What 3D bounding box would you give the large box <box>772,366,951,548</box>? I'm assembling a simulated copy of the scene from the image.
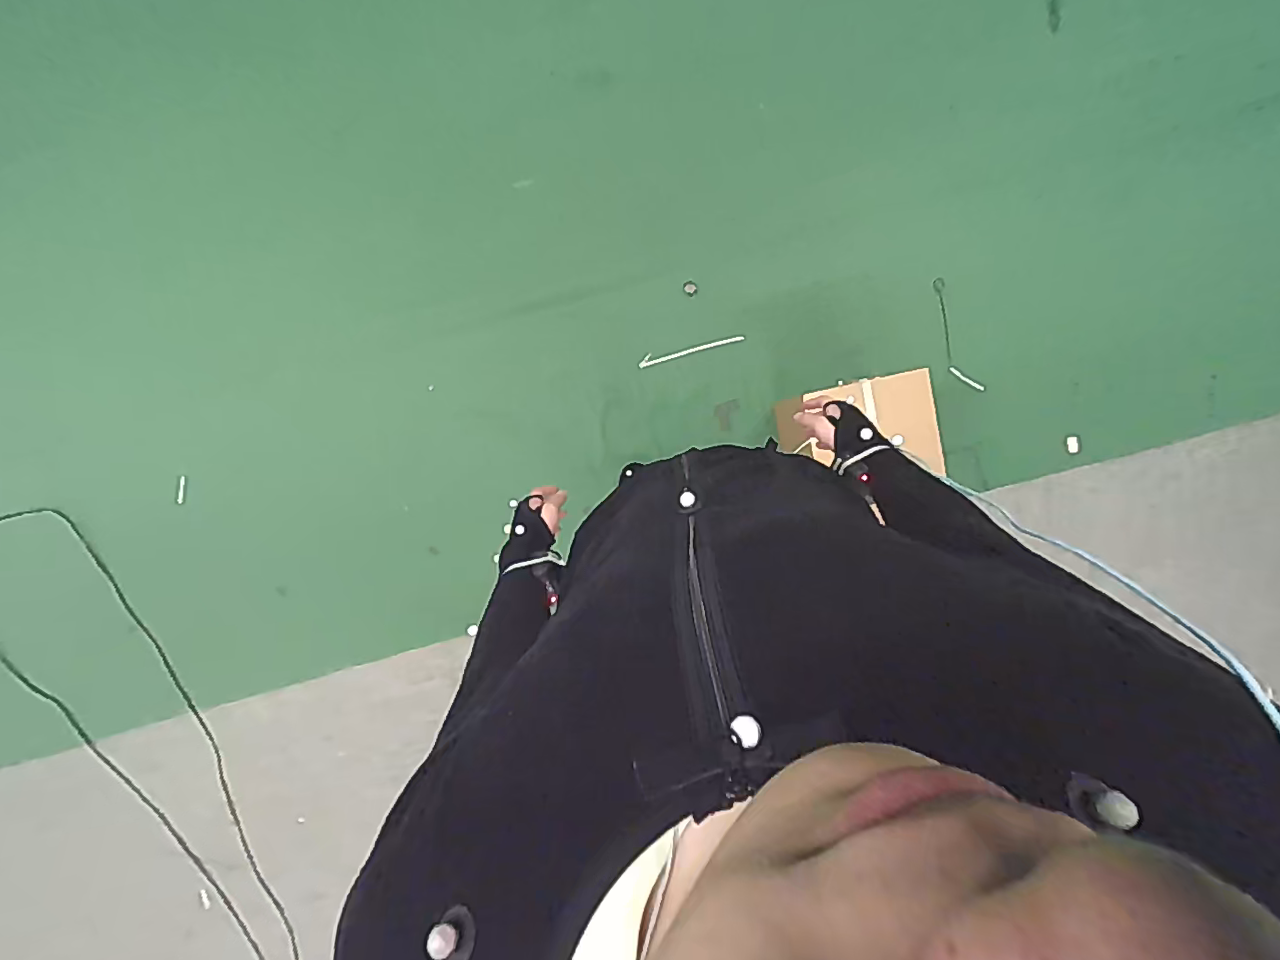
[{"bbox_3d":[0.583,-0.068,1.482,0.320,0.320,0.408,-13,95,2],"label":"large box"}]
